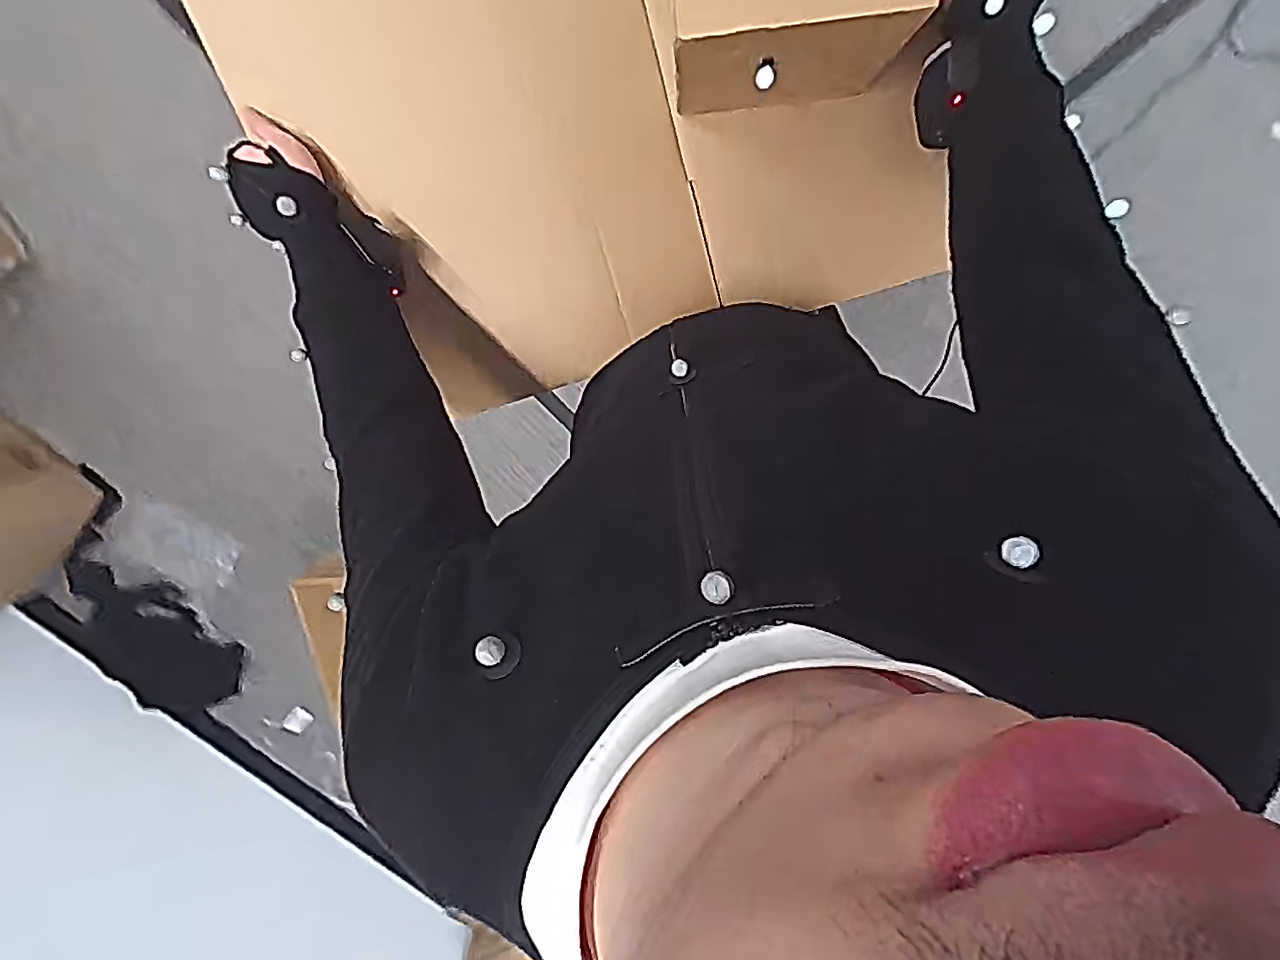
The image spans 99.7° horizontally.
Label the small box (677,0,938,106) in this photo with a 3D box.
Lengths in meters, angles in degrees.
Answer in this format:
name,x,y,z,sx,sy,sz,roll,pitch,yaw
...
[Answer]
name,x,y,z,sx,sy,sz,roll,pitch,yaw
small box,0.118,-0.415,0.419,0.179,0.176,0.168,-2,110,6
